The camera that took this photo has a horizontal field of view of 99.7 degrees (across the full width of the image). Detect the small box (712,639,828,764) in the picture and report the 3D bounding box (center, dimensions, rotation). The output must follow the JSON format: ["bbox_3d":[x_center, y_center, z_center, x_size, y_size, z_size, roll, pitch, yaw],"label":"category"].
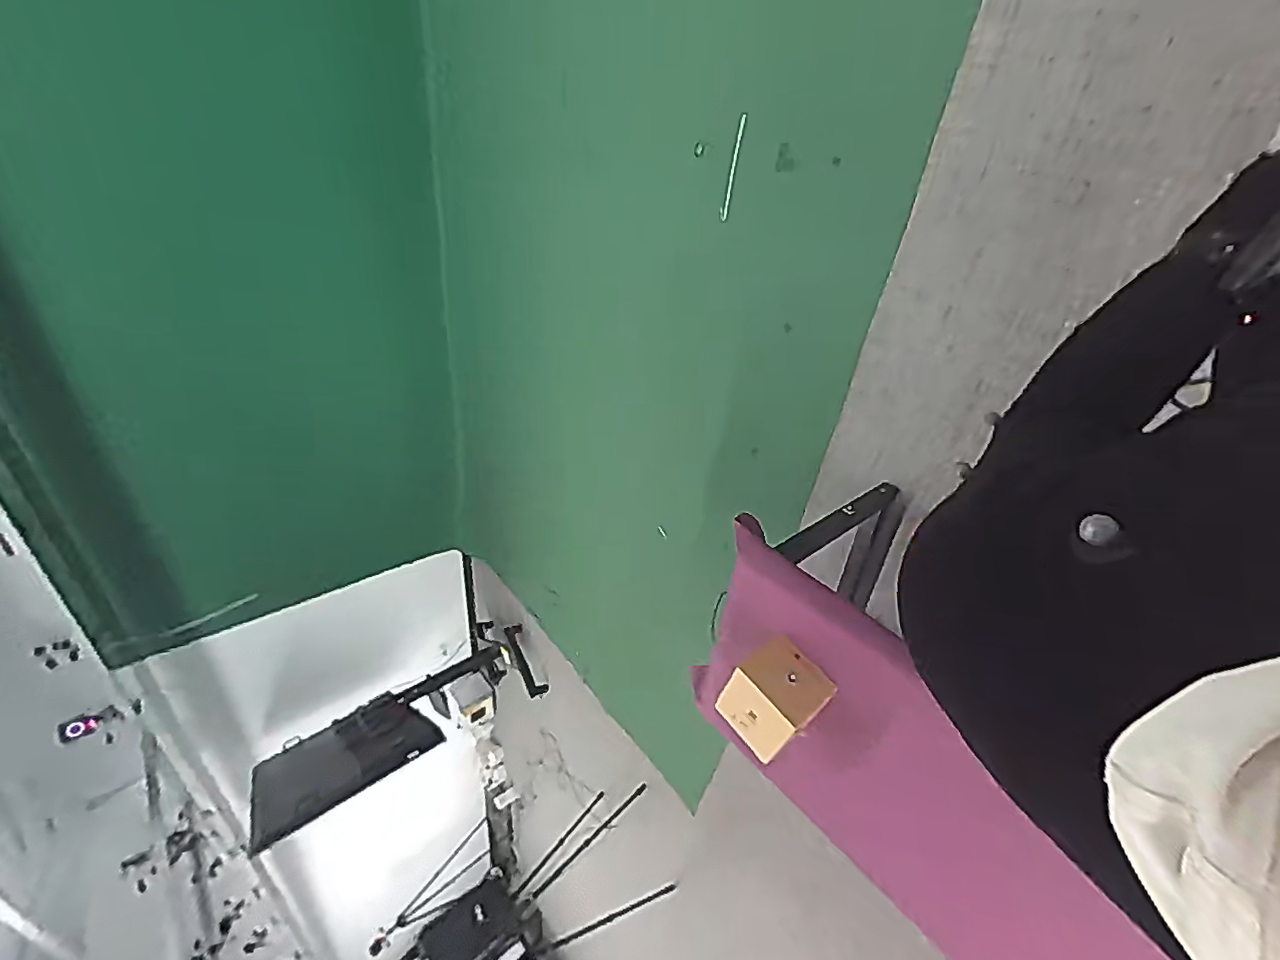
[{"bbox_3d":[0.299,0.497,1.234,0.168,0.176,0.179,44,136,30],"label":"small box"}]
